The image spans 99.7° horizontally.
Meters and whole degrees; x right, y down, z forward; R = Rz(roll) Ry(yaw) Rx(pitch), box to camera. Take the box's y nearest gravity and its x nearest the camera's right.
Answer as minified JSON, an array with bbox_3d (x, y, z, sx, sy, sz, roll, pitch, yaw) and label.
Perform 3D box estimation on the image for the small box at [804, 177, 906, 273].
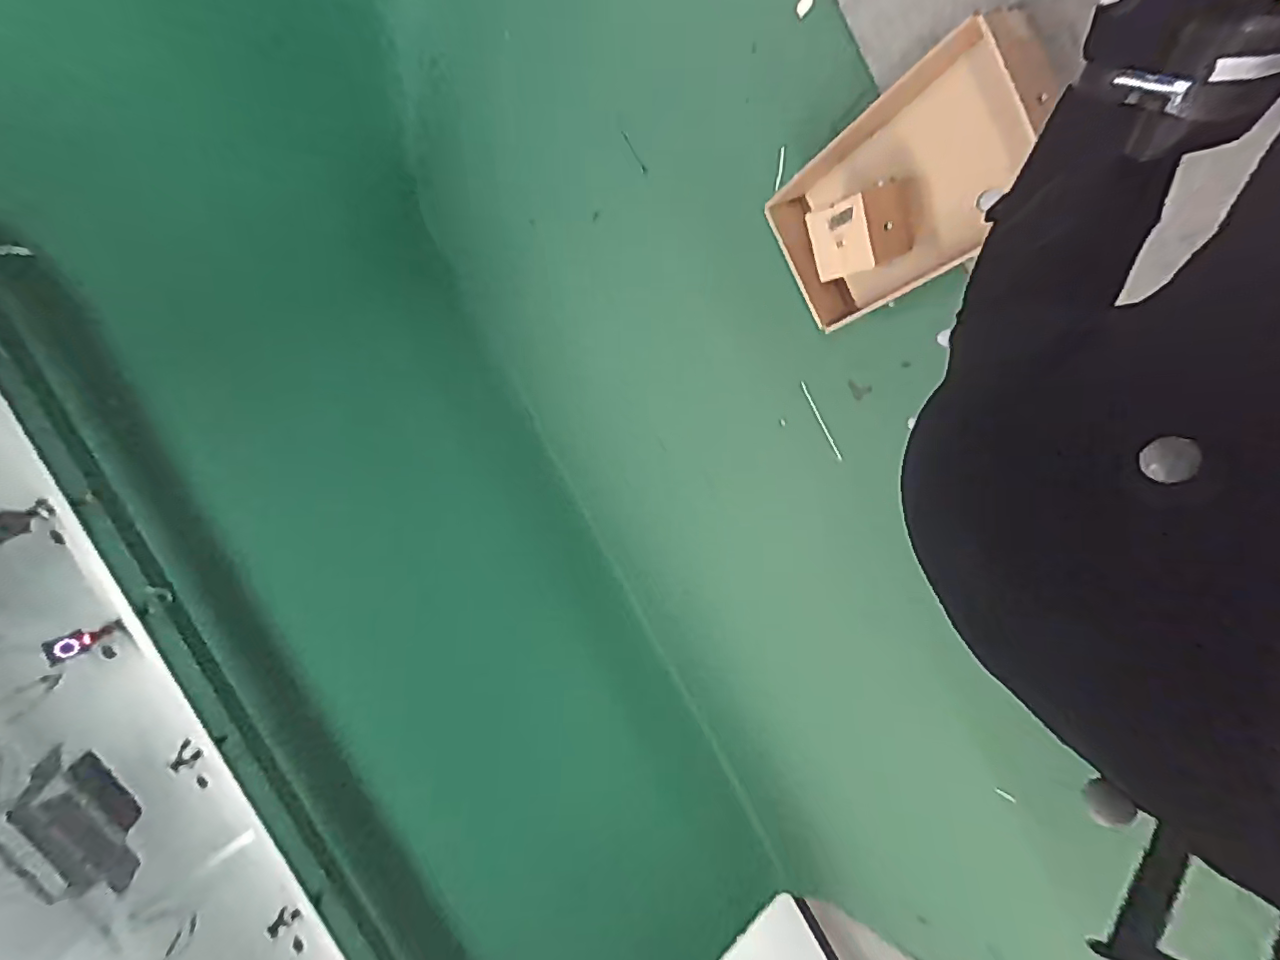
[{"bbox_3d":[0.556,-0.657,1.391,0.168,0.176,0.179,8,123,55],"label":"small box"}]

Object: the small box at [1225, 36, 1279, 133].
[{"bbox_3d":[1.016,-0.586,0.748,0.176,0.168,0.179,28,121,-2],"label":"small box"}]
